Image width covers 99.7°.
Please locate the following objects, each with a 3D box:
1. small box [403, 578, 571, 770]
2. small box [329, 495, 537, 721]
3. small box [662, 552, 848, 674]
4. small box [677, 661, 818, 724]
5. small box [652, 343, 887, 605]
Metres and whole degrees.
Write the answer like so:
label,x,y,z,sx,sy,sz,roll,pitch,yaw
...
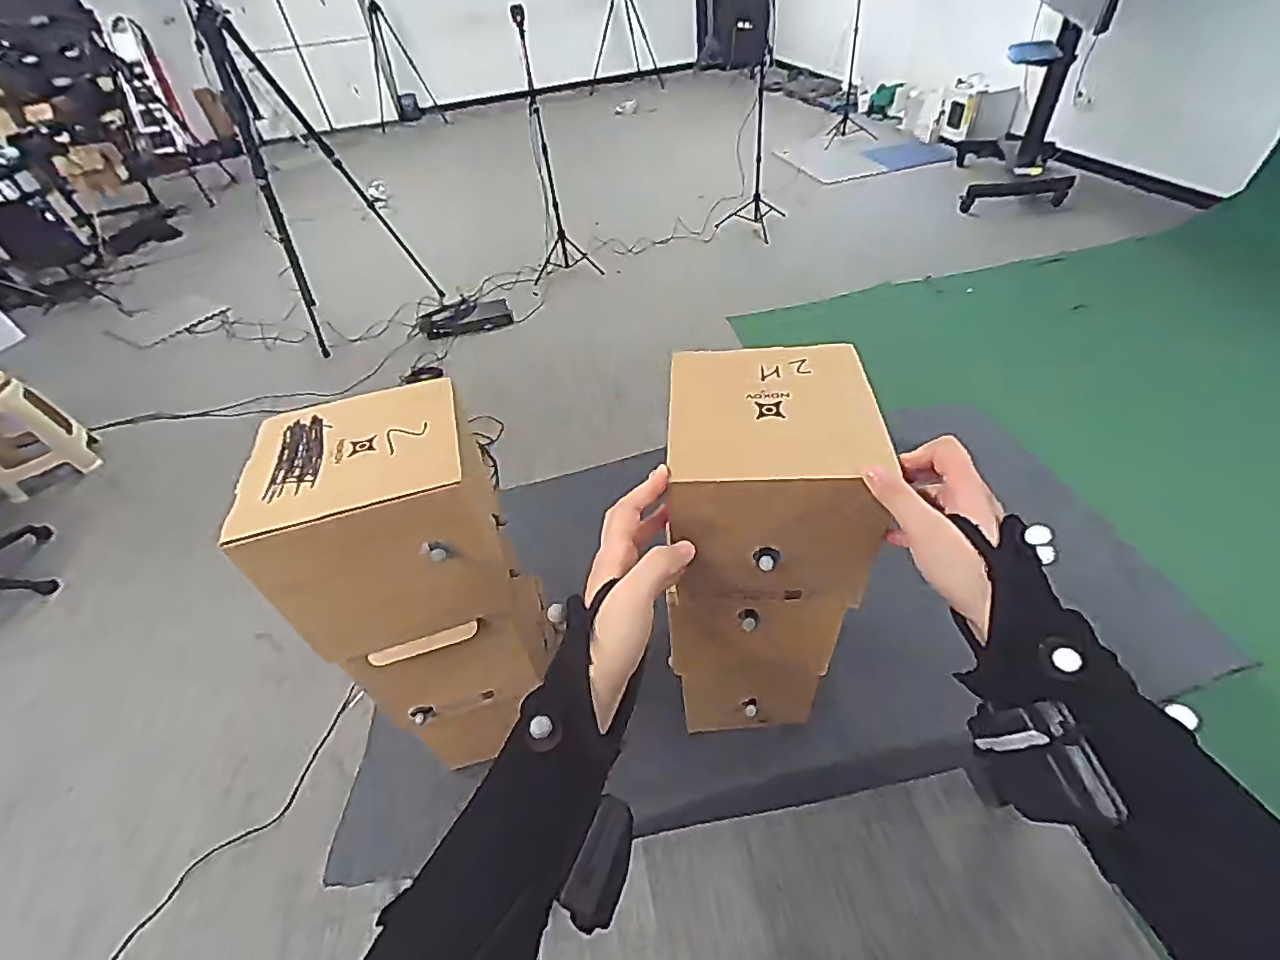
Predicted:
label,x,y,z,sx,sy,sz,roll,pitch,yaw
small box,-0.198,0.266,0.741,0.179,0.176,0.168,-14,43,-5
small box,-0.226,0.152,0.625,0.168,0.176,0.179,-16,42,-8
small box,0.119,0.107,0.615,0.179,0.176,0.168,-3,44,7
small box,0.132,0.217,0.736,0.168,0.176,0.179,-7,45,3
small box,0.105,-0.001,0.490,0.168,0.176,0.179,-1,44,7
